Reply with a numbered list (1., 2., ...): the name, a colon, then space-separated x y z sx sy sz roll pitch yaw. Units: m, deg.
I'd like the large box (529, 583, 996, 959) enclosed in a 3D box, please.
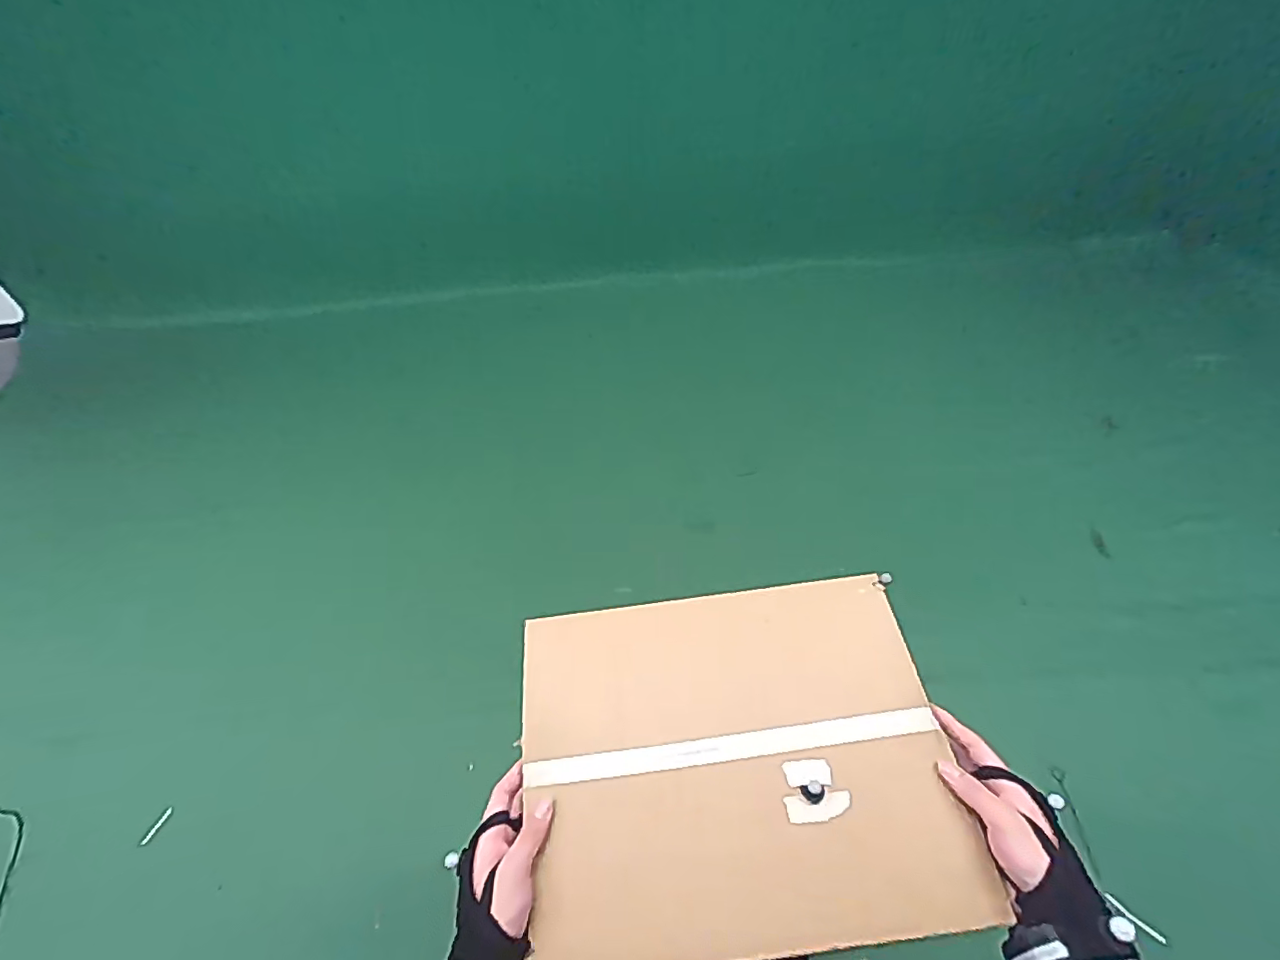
1. large box: 0.096 0.357 0.656 0.408 0.320 0.320 -8 55 -1
